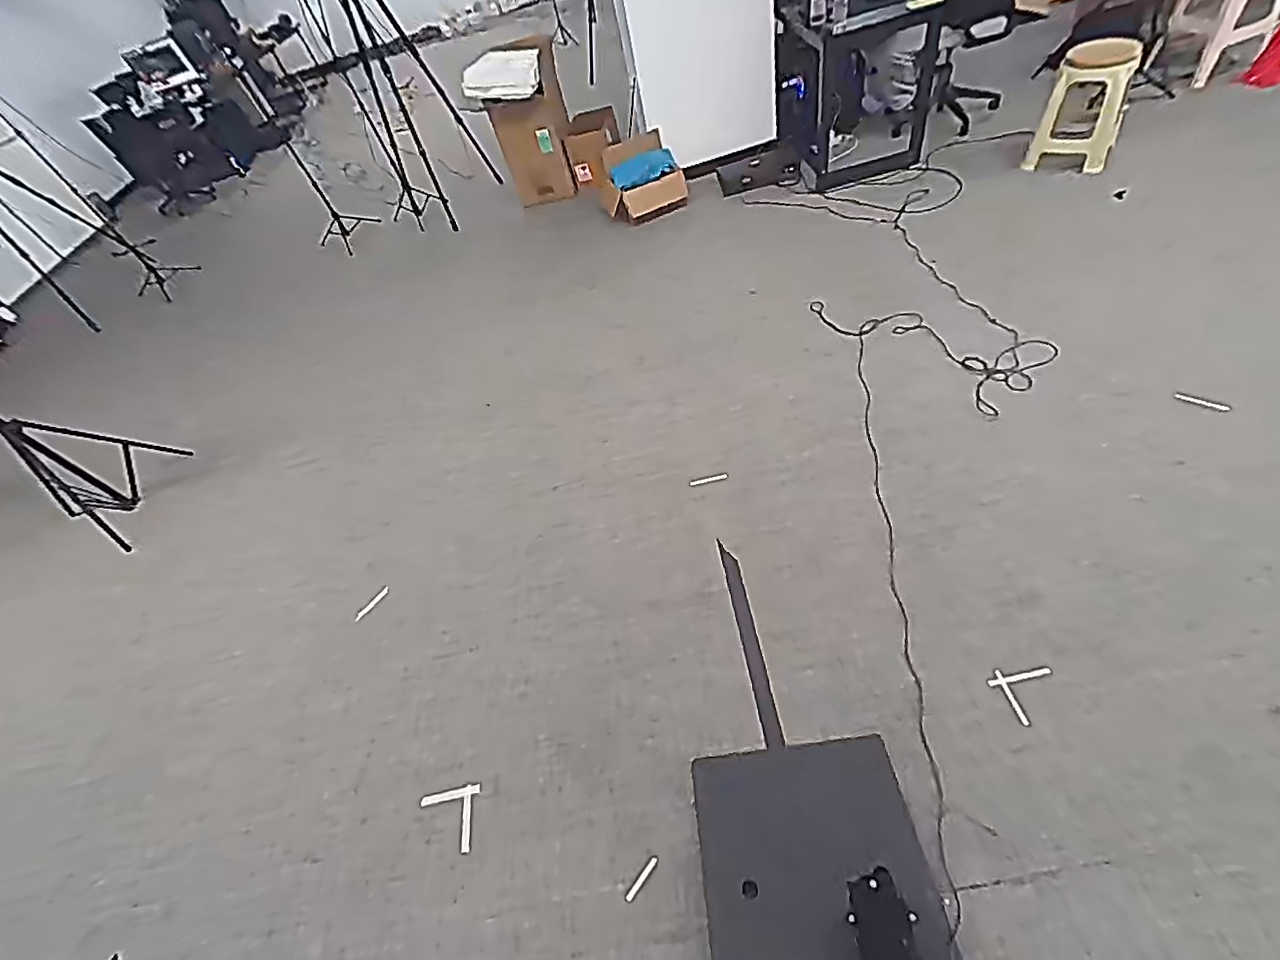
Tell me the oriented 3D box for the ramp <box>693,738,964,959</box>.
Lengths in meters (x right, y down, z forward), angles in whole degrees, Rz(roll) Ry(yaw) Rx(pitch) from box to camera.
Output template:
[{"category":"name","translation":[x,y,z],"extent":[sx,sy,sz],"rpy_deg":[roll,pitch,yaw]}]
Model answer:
[{"category":"ramp","translation":[0.390,1.021,1.019],"extent":[0.509,0.206,0.991],"rpy_deg":[-14,49,7]}]
